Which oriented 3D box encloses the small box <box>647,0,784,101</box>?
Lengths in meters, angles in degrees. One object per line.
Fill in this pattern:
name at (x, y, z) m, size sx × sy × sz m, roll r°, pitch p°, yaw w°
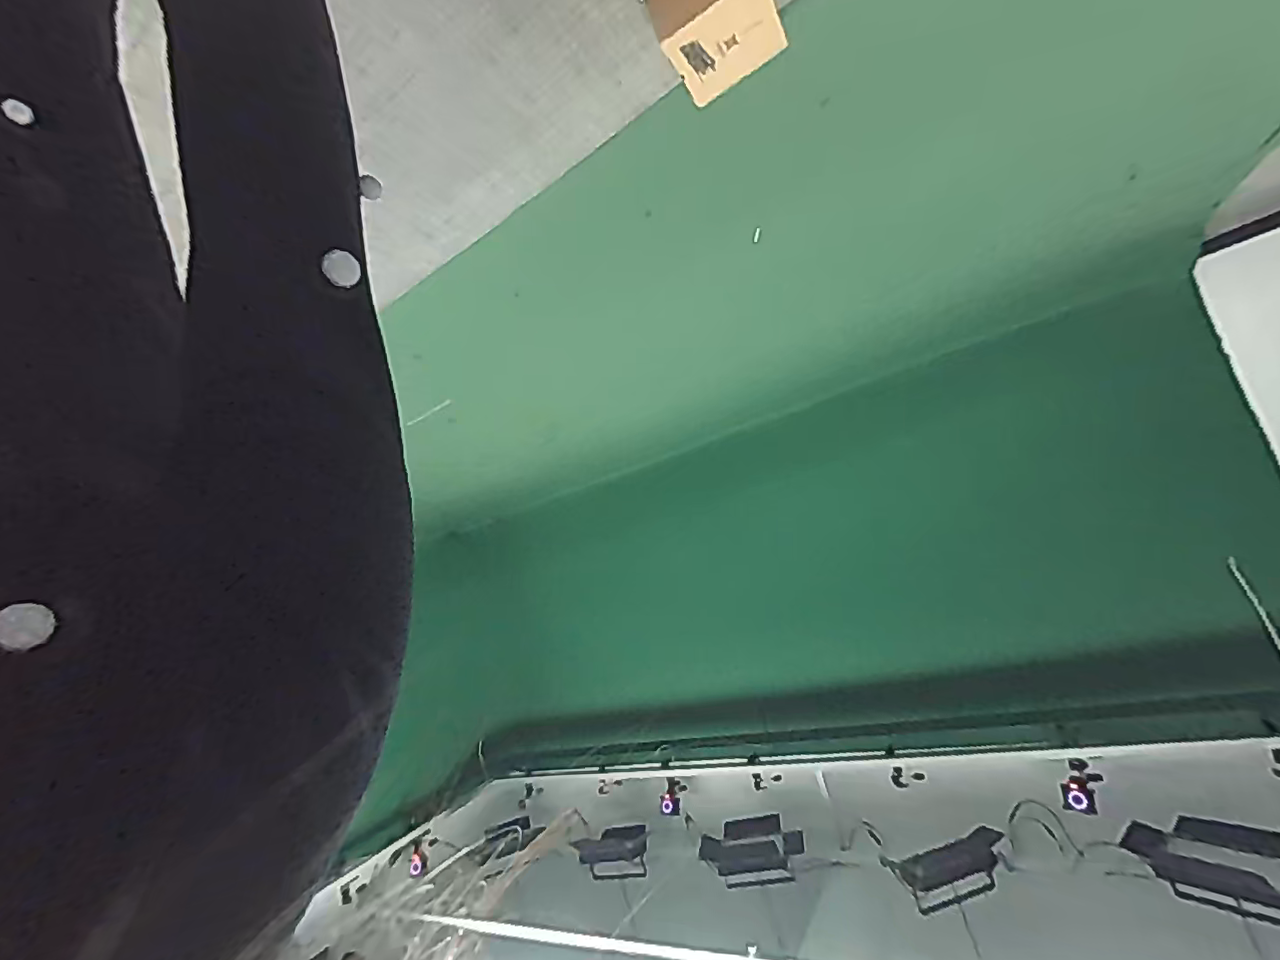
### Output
small box at (0.115, -0.798, 0.896) m, size 0.179 × 0.176 × 0.168 m, roll -20°, pitch 170°, yaw 27°
